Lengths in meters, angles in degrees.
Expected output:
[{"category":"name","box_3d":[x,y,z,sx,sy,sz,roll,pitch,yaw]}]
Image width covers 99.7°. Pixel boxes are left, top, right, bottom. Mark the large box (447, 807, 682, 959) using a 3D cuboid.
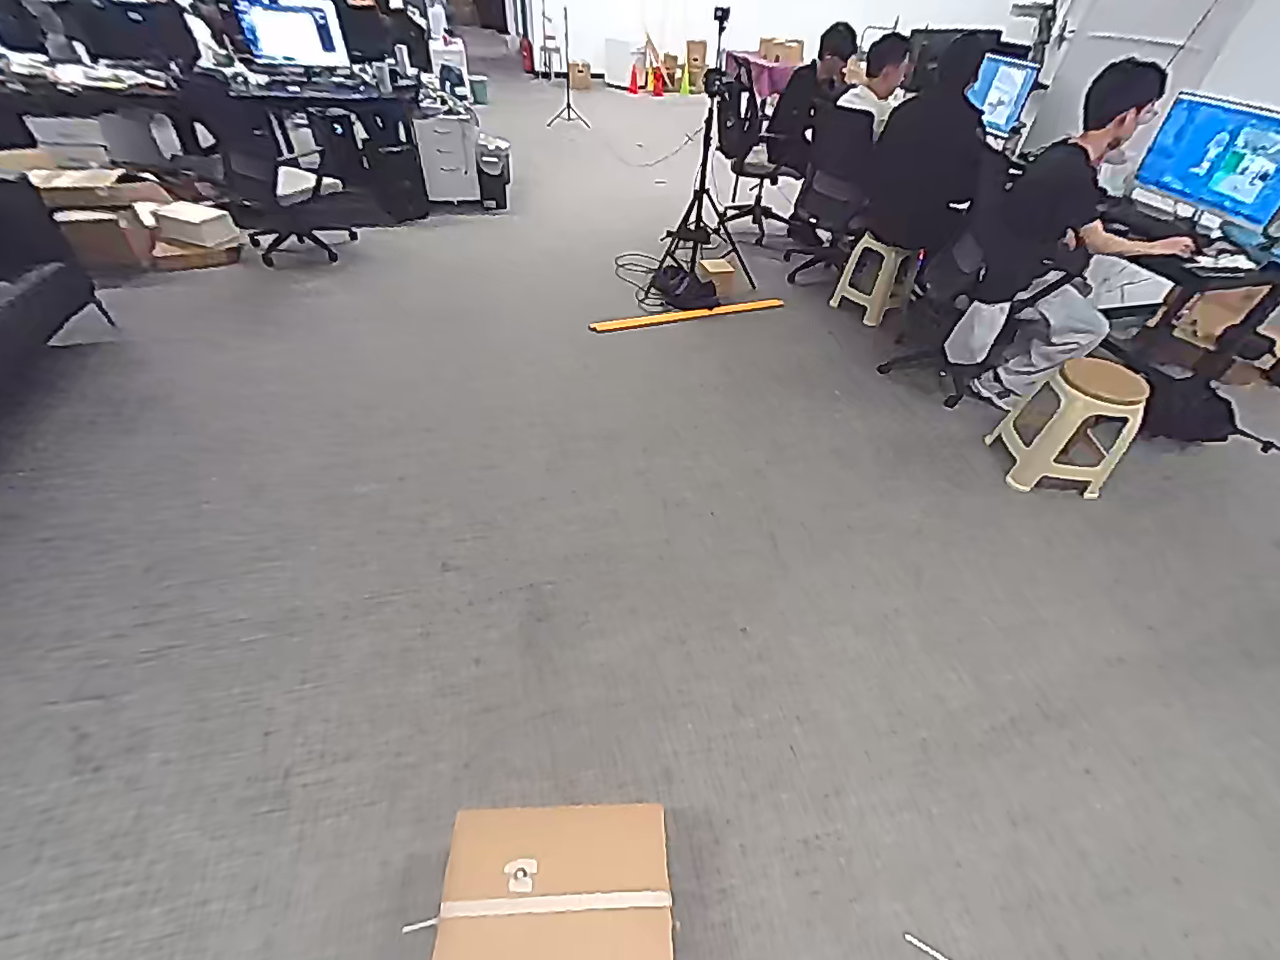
[{"category":"large box","box_3d":[-0.132,0.872,1.068,0.408,0.320,0.320,-1,44,-2]}]
